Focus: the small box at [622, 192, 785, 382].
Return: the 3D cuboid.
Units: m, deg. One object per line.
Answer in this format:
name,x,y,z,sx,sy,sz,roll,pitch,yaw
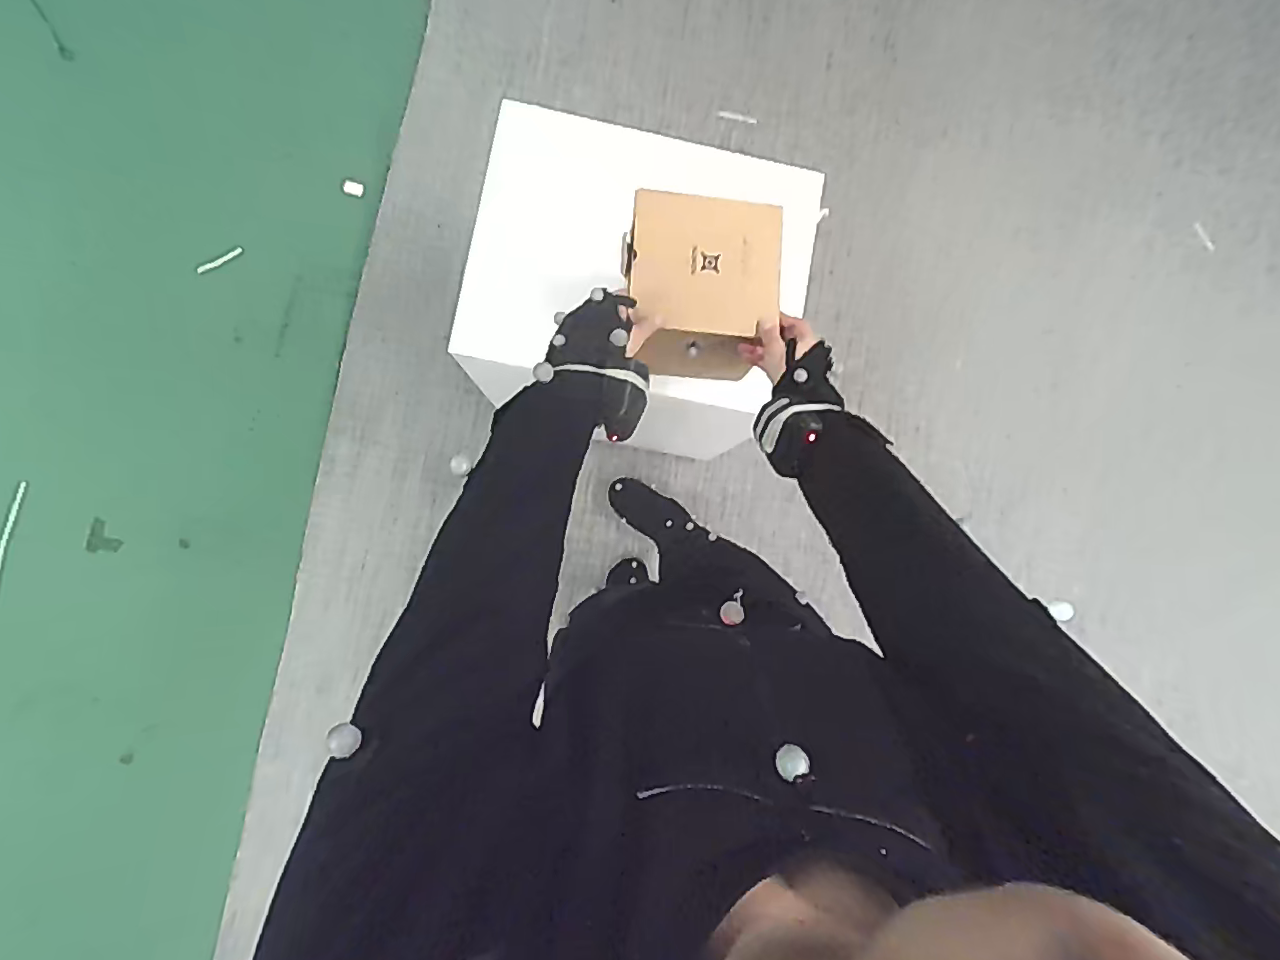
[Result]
small box,0.070,-0.231,0.688,0.179,0.176,0.168,5,83,-4
